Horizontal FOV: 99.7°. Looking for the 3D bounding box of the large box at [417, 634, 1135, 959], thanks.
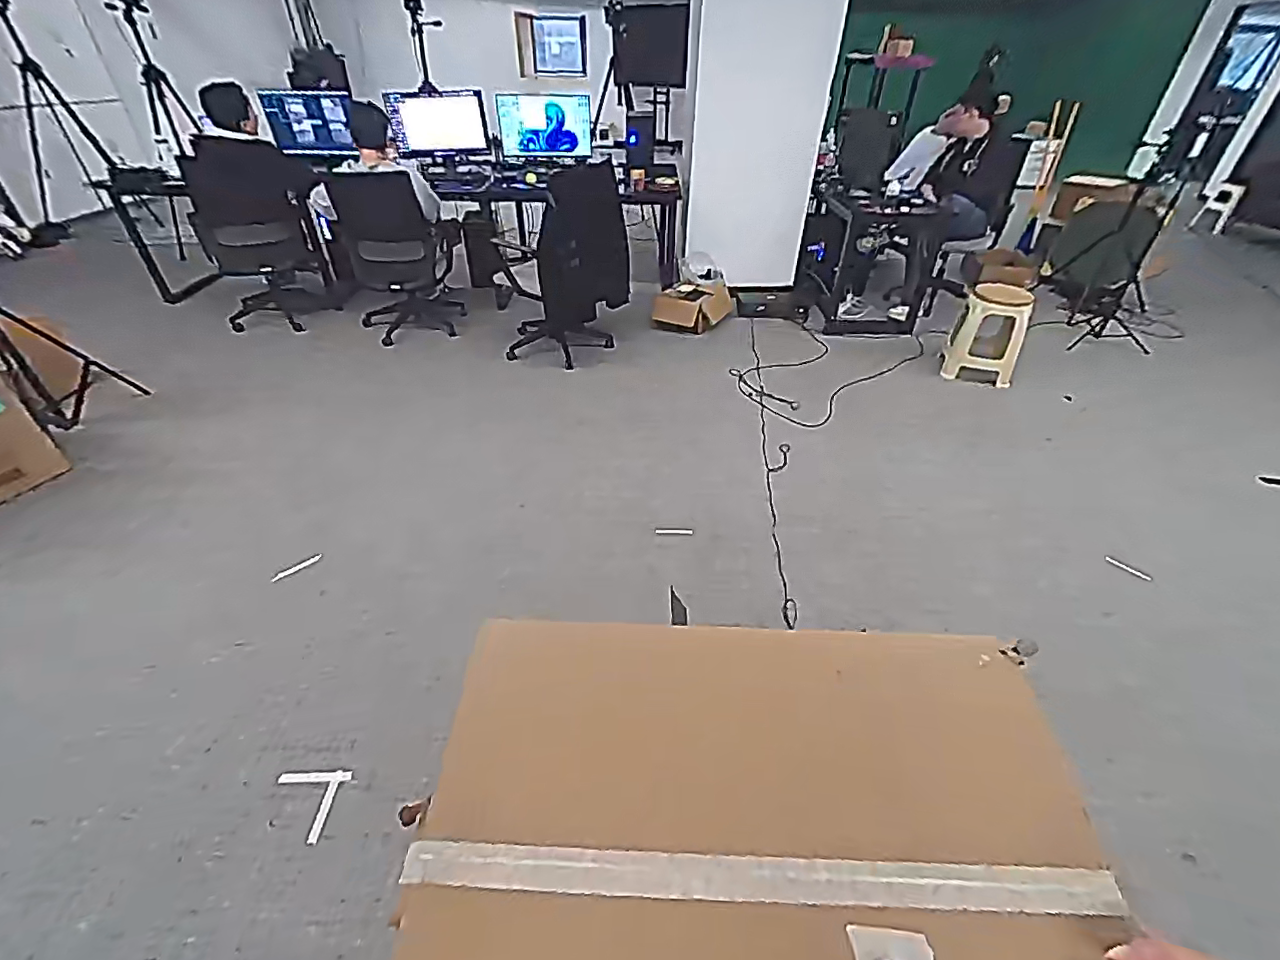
[{"bbox_3d":[0.074,0.338,0.433,0.408,0.320,0.320,1,49,2],"label":"large box"}]
